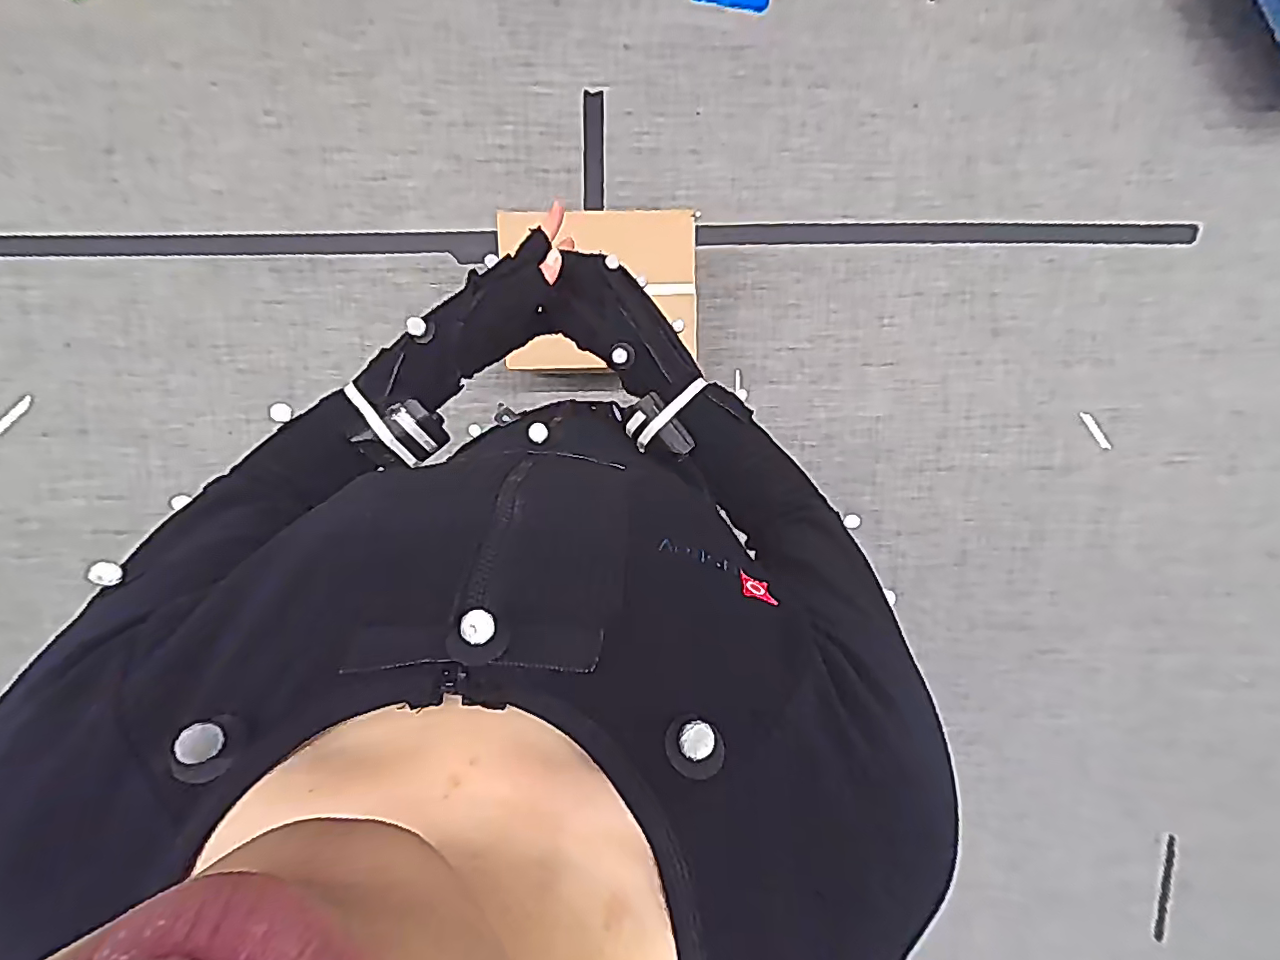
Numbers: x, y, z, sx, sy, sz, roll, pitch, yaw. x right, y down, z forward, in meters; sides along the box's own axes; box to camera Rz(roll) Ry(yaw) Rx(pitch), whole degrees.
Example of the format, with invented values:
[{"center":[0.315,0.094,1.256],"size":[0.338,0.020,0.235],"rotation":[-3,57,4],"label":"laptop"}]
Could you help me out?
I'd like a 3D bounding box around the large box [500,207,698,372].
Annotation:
[{"center":[-0.089,-0.424,1.271],"size":[0.408,0.320,0.320],"rotation":[-2,100,-3],"label":"large box"}]
